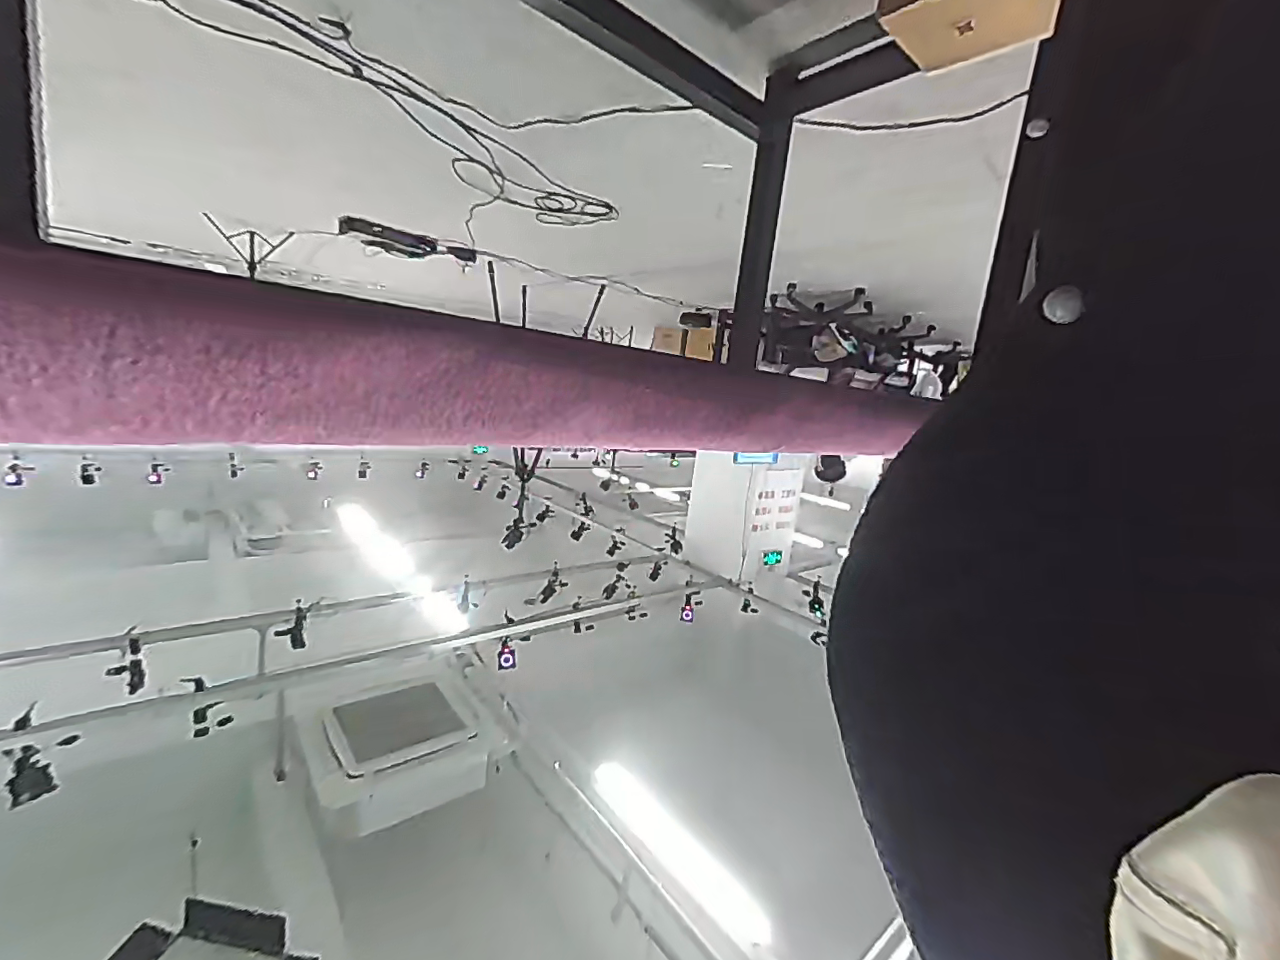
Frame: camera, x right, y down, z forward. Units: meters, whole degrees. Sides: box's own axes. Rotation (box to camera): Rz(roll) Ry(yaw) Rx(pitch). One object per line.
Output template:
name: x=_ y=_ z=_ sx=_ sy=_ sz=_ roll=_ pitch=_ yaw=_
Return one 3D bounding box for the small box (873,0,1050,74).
small box: x=0.443 y=-0.695 z=0.717 sx=0.179 sy=0.176 sz=0.168 roll=-1 pitch=-167 yaw=-40
